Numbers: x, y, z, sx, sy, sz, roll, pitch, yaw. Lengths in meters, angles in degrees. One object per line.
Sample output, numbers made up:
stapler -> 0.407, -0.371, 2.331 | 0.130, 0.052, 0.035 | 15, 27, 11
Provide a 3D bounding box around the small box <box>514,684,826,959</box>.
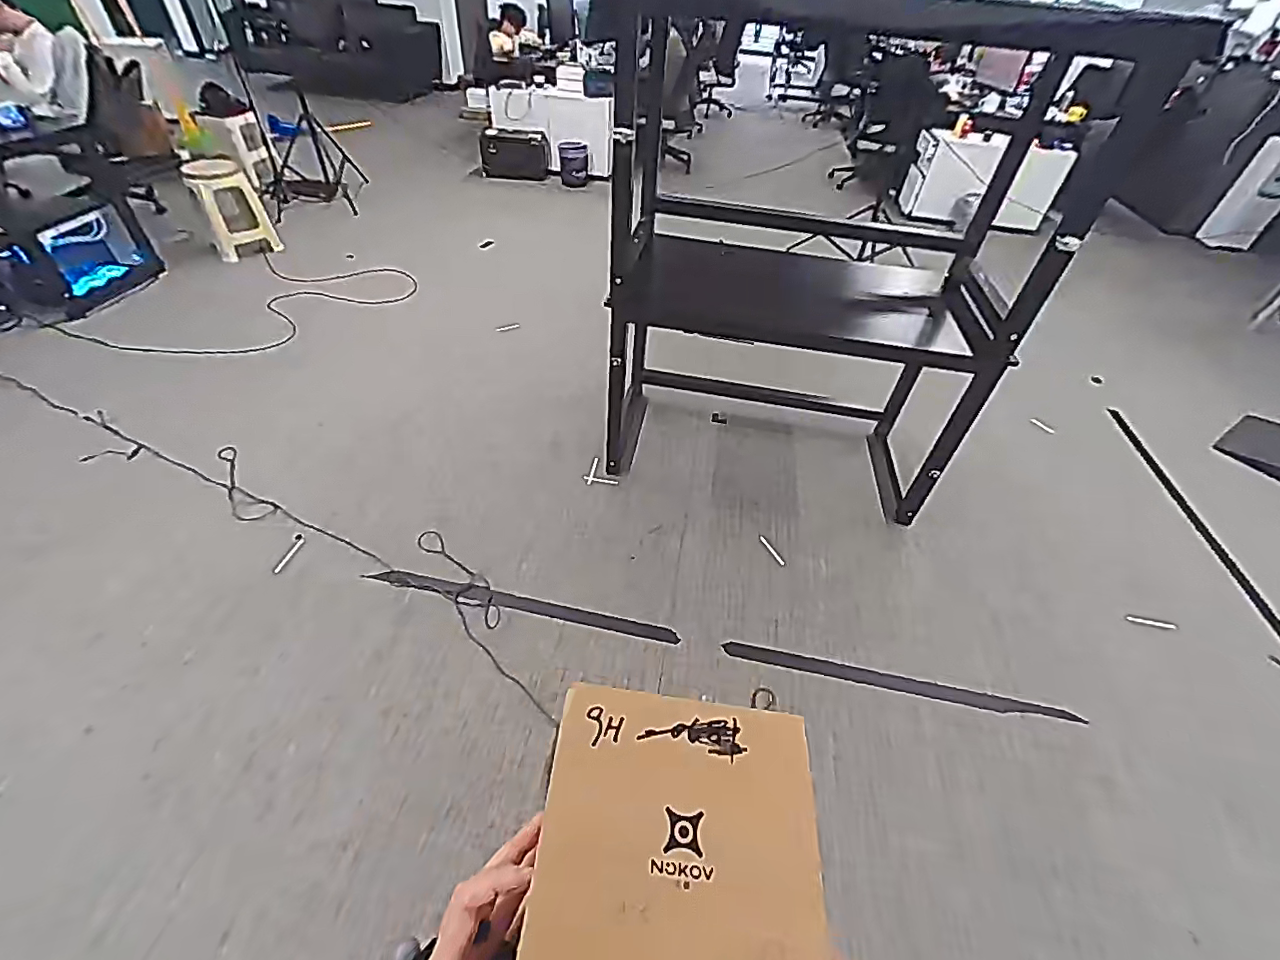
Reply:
small box -> 0.014, 0.268, 0.371 | 0.168, 0.176, 0.179 | 9, 47, -1
